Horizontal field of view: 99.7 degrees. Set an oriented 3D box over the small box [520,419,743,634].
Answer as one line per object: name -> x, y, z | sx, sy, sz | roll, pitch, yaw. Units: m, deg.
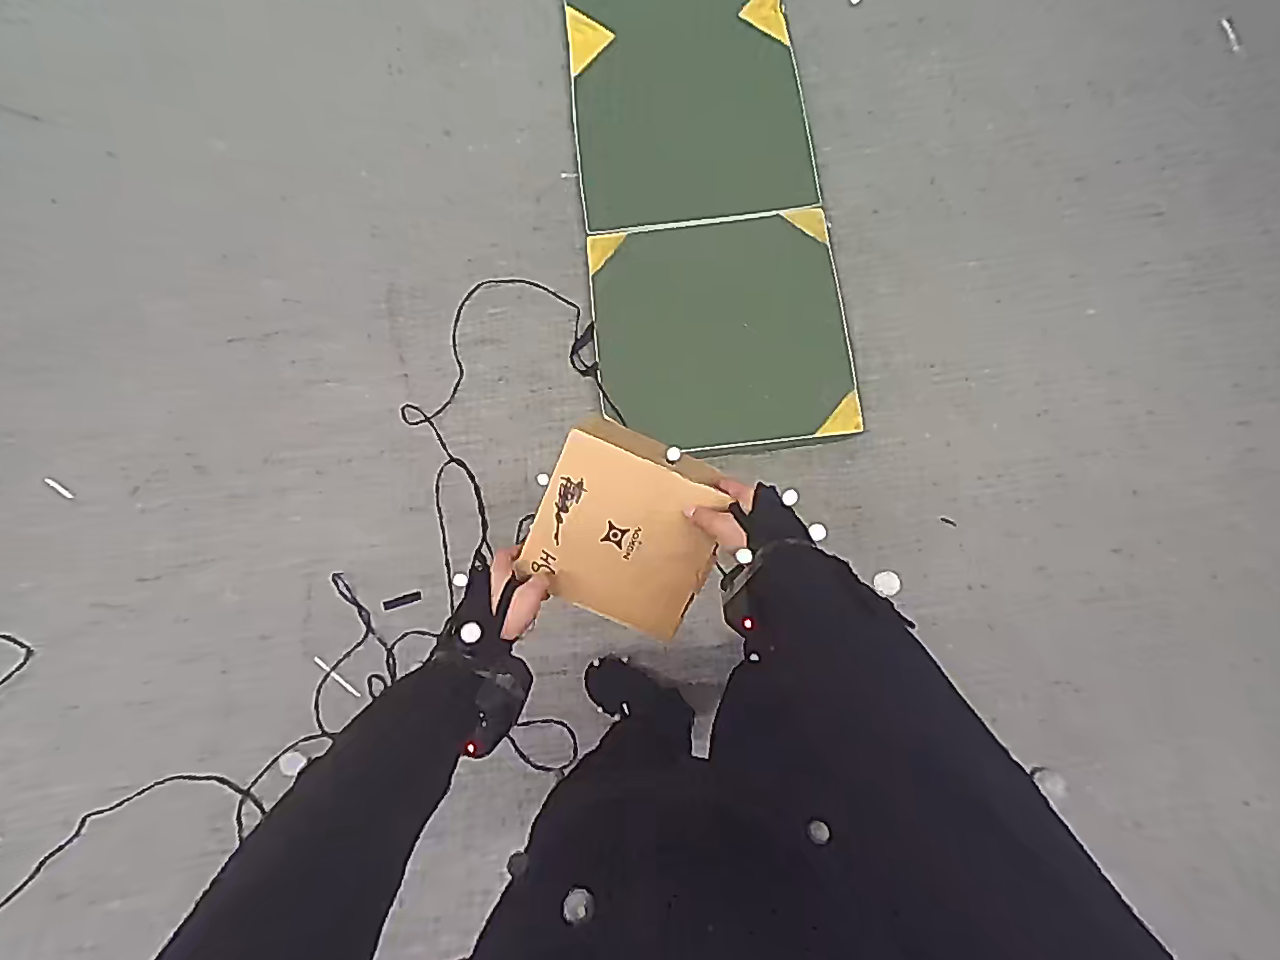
small box -> -0.008, 0.037, 0.611 | 0.179, 0.176, 0.168 | 24, 100, -2
